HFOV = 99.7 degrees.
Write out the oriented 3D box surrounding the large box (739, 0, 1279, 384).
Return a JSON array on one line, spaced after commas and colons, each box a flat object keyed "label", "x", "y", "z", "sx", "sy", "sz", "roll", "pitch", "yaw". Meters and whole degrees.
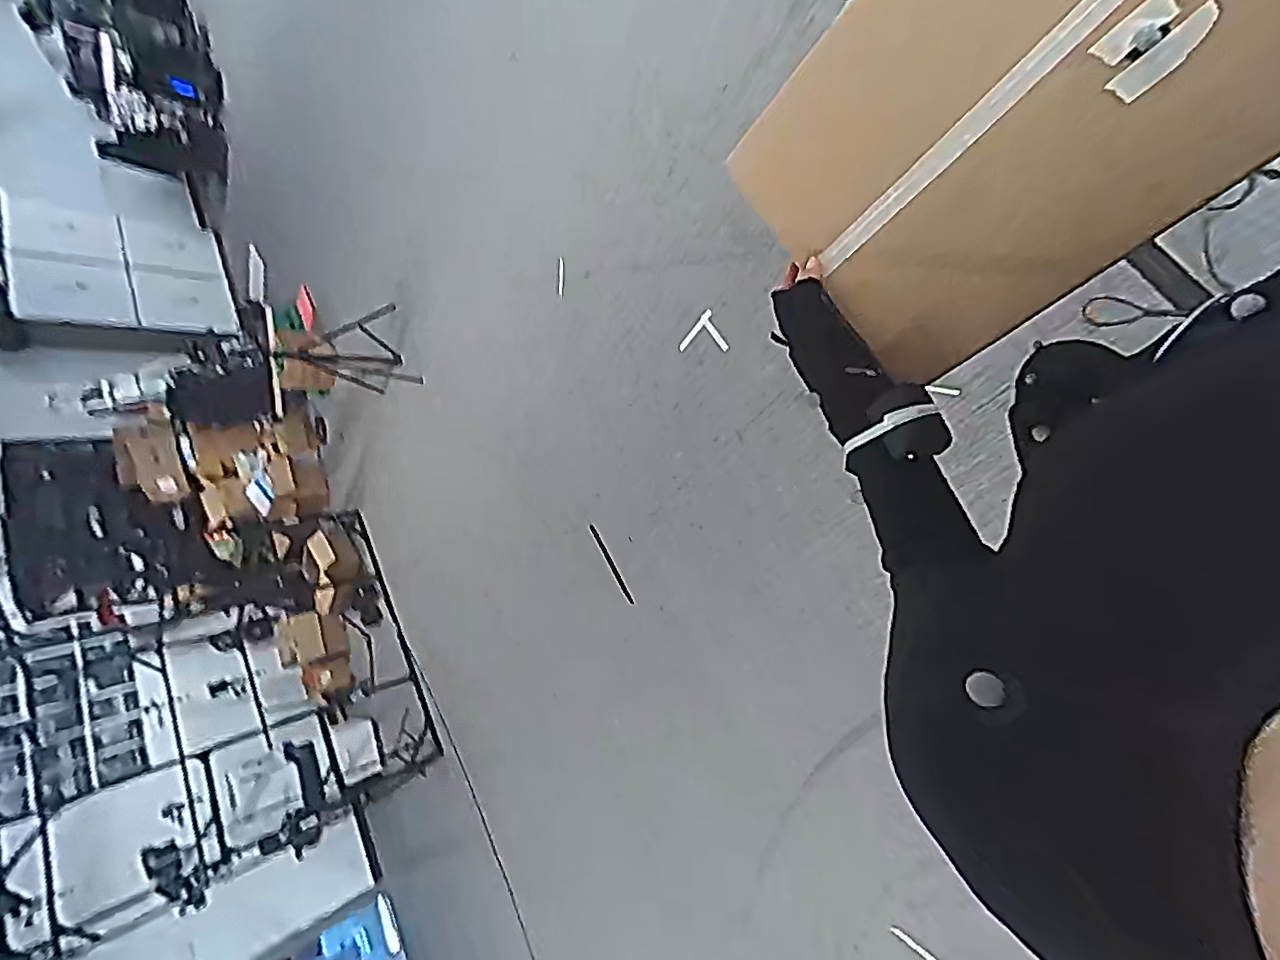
[{"label": "large box", "x": 0.388, "y": -0.358, "z": 0.553, "sx": 0.408, "sy": 0.320, "sz": 0.320, "roll": -41, "pitch": 81, "yaw": 41}]
